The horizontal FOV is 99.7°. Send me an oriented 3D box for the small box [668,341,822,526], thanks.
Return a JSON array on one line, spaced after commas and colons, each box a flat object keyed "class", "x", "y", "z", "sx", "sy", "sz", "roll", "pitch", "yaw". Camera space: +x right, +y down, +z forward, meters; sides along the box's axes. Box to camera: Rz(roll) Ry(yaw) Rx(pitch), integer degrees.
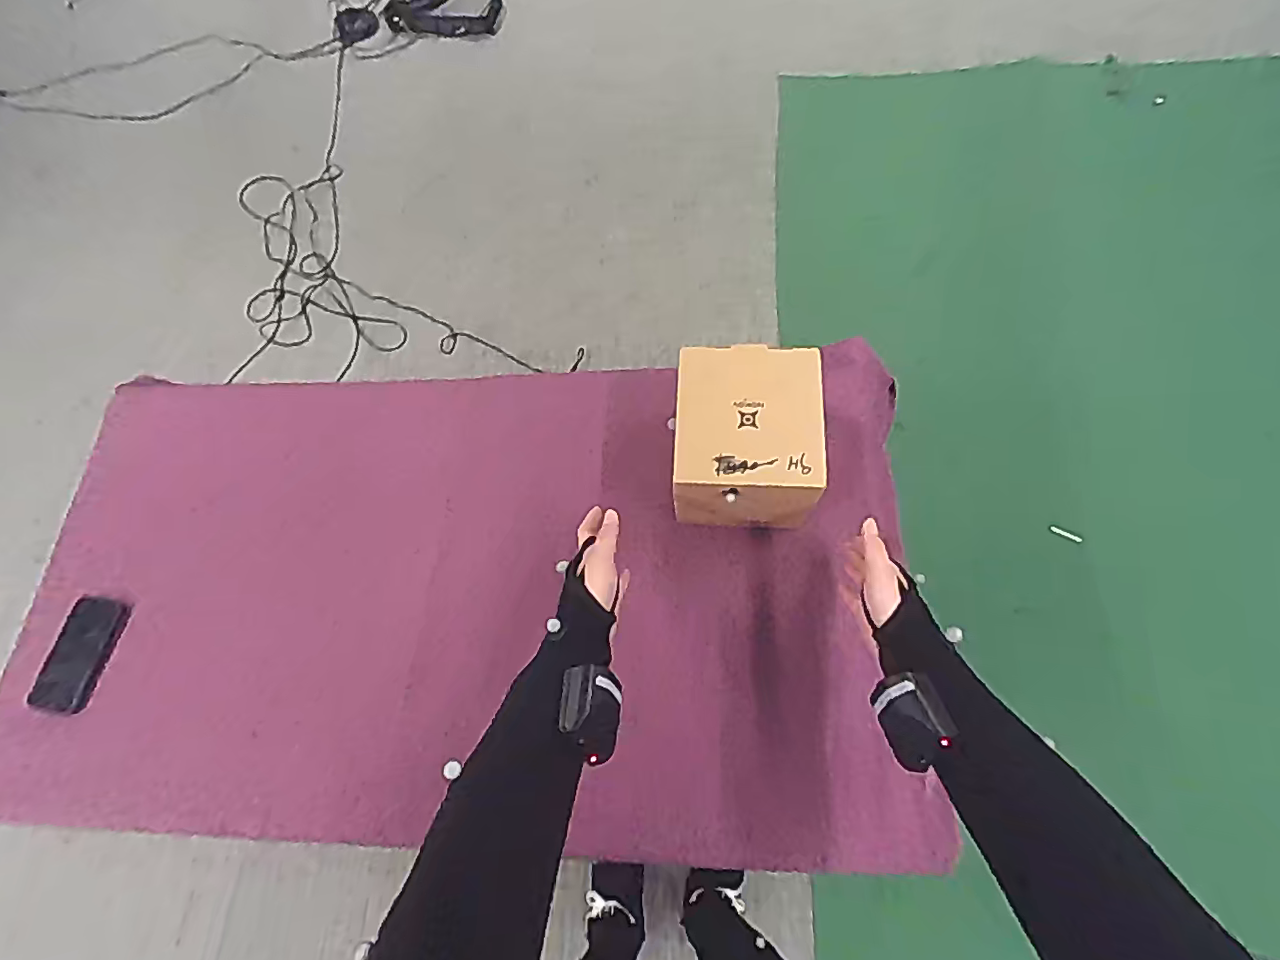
[{"class": "small box", "x": 0.124, "y": -0.053, "z": 0.676, "sx": 0.168, "sy": 0.176, "sz": 0.179, "roll": 2, "pitch": 70, "yaw": 7}]
